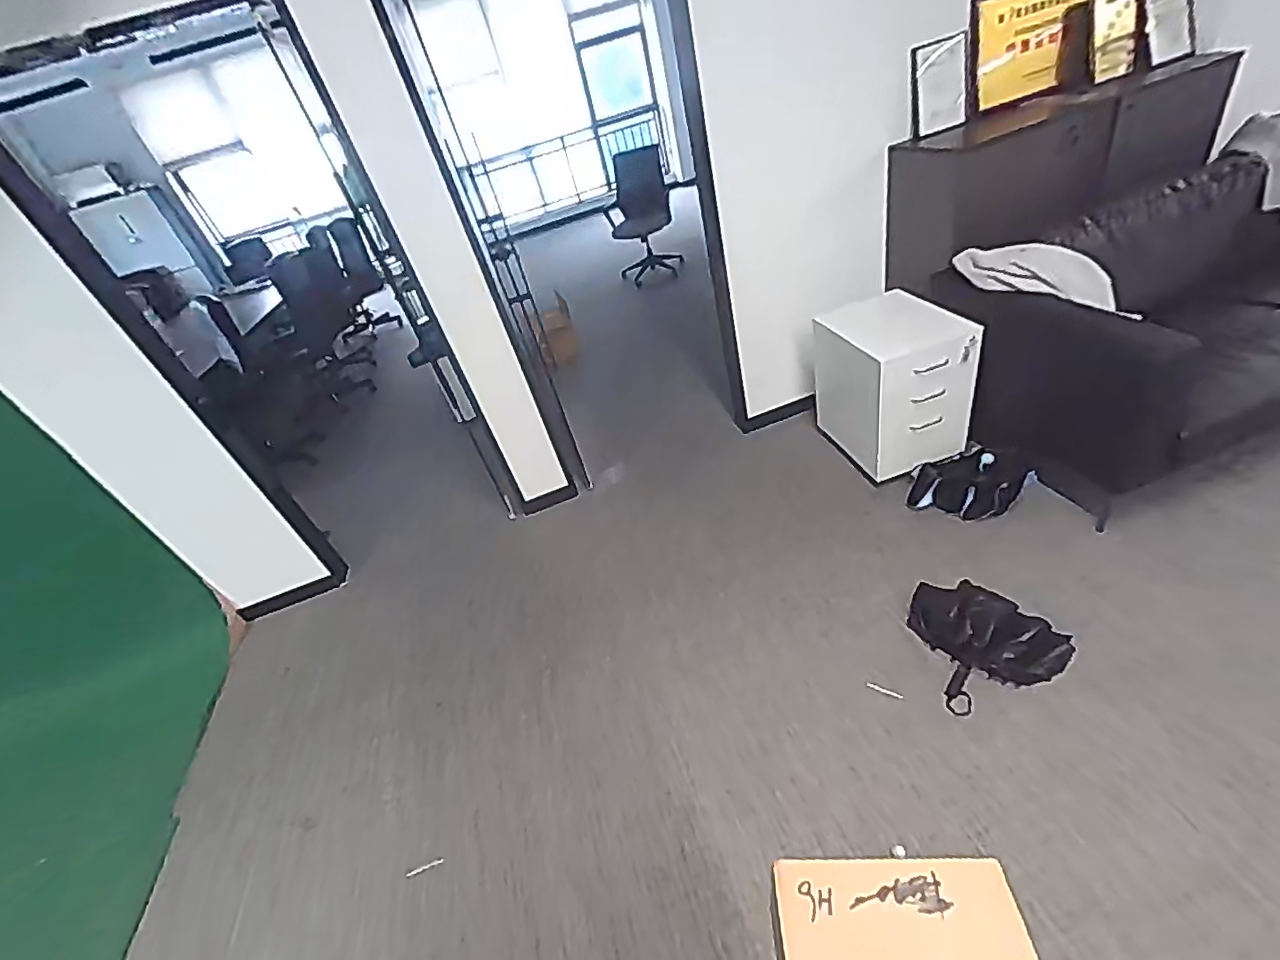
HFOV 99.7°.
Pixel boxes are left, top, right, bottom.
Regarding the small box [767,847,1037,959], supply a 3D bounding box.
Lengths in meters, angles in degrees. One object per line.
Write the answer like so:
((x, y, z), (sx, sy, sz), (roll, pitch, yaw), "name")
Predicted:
((0.187, 0.393, 0.393), (0.168, 0.176, 0.179), (-4, 40, 6), "small box")
